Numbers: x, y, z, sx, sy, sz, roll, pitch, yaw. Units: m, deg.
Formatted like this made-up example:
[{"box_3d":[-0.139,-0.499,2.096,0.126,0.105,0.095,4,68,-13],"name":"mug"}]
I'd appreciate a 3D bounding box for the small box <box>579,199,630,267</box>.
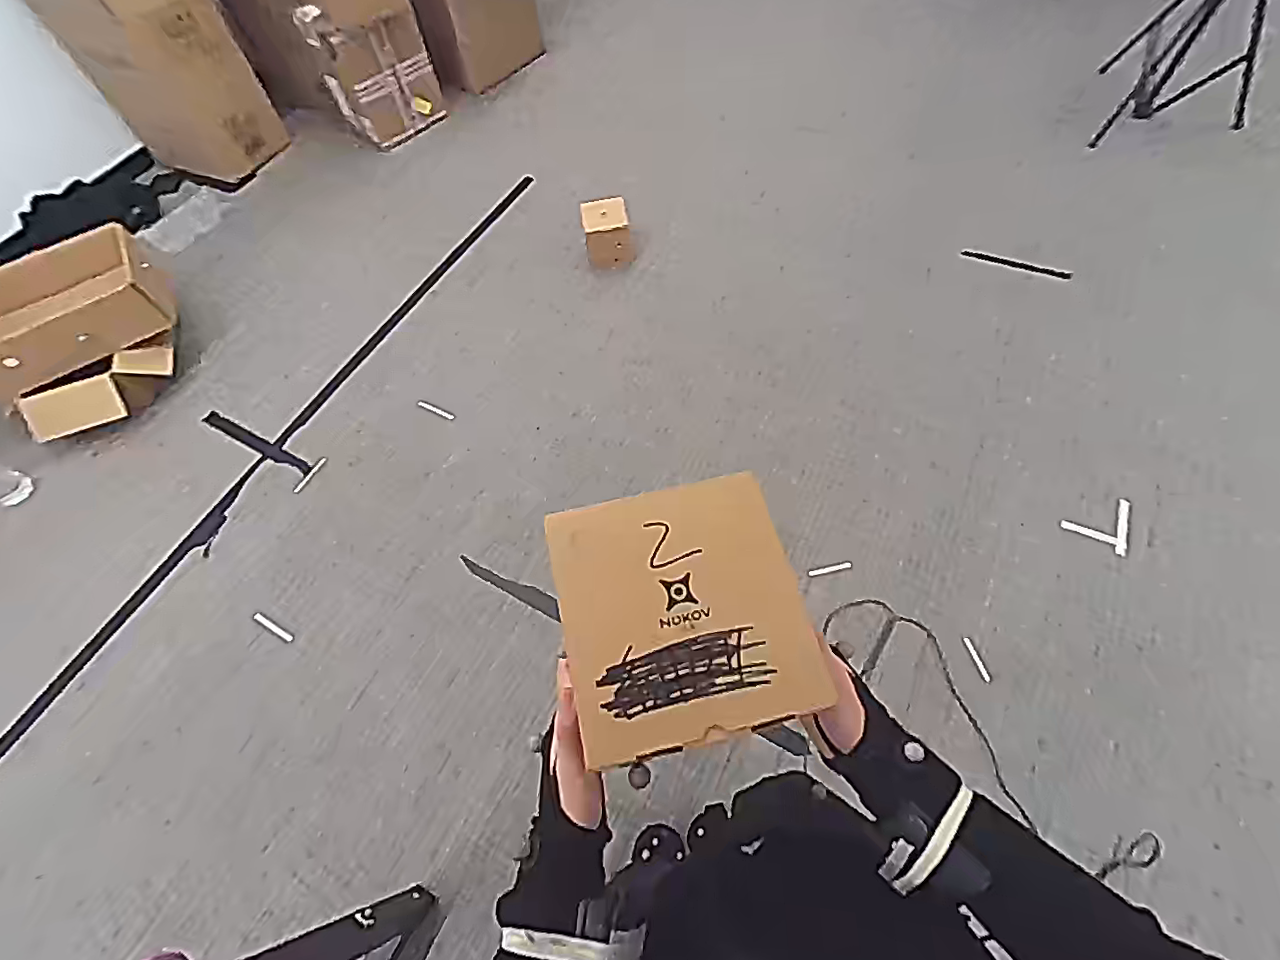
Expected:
[{"box_3d":[-0.135,-0.947,2.091,0.168,0.176,0.179,-10,60,-2],"name":"small box"}]
